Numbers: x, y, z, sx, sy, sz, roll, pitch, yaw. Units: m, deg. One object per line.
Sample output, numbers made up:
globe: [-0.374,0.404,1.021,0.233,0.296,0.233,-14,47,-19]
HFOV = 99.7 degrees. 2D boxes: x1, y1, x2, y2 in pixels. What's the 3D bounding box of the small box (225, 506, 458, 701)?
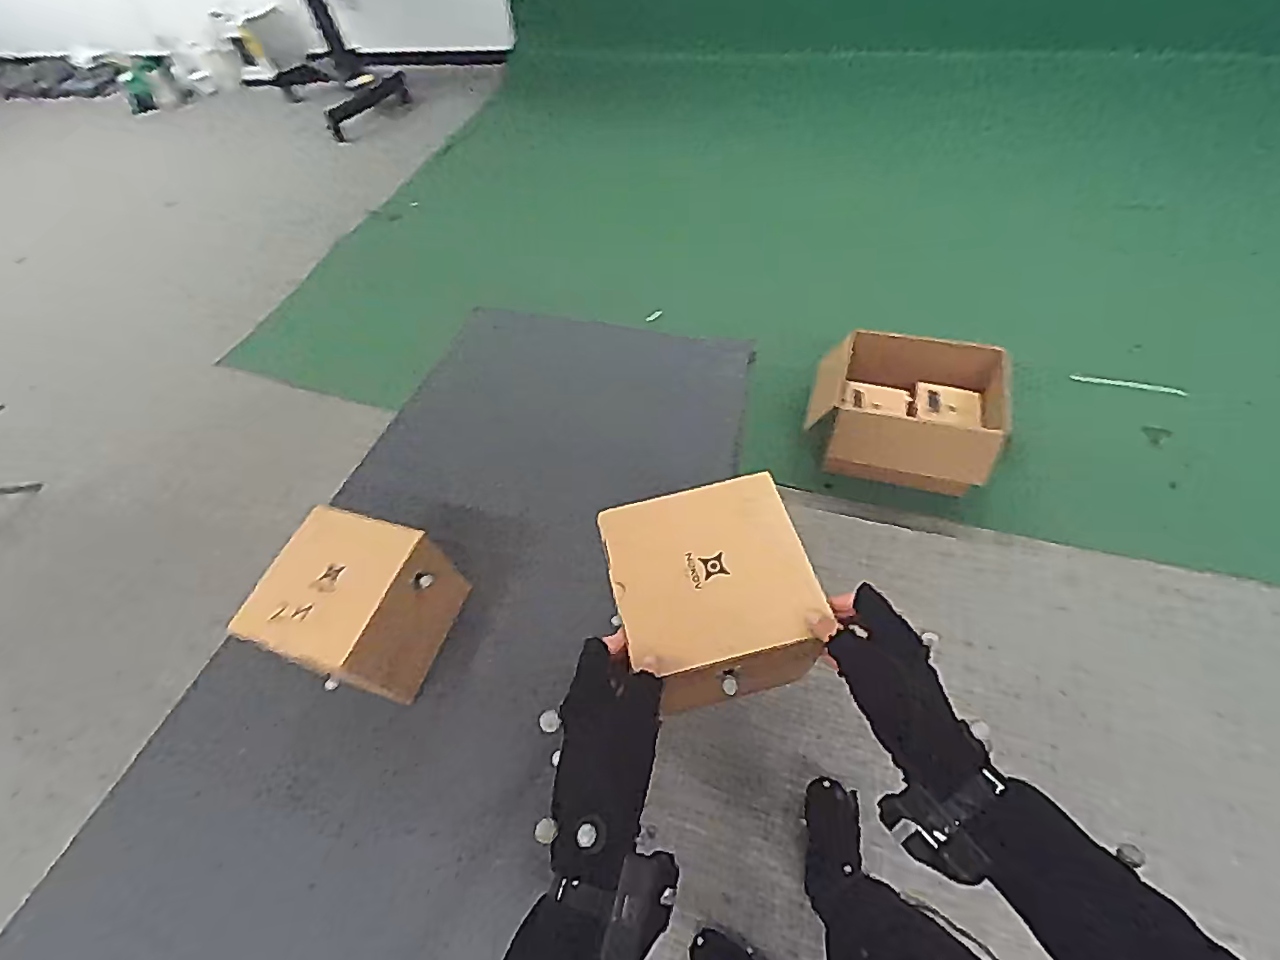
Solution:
small box: [-0.363,0.163,0.703,0.168,0.176,0.179,11,59,15]
